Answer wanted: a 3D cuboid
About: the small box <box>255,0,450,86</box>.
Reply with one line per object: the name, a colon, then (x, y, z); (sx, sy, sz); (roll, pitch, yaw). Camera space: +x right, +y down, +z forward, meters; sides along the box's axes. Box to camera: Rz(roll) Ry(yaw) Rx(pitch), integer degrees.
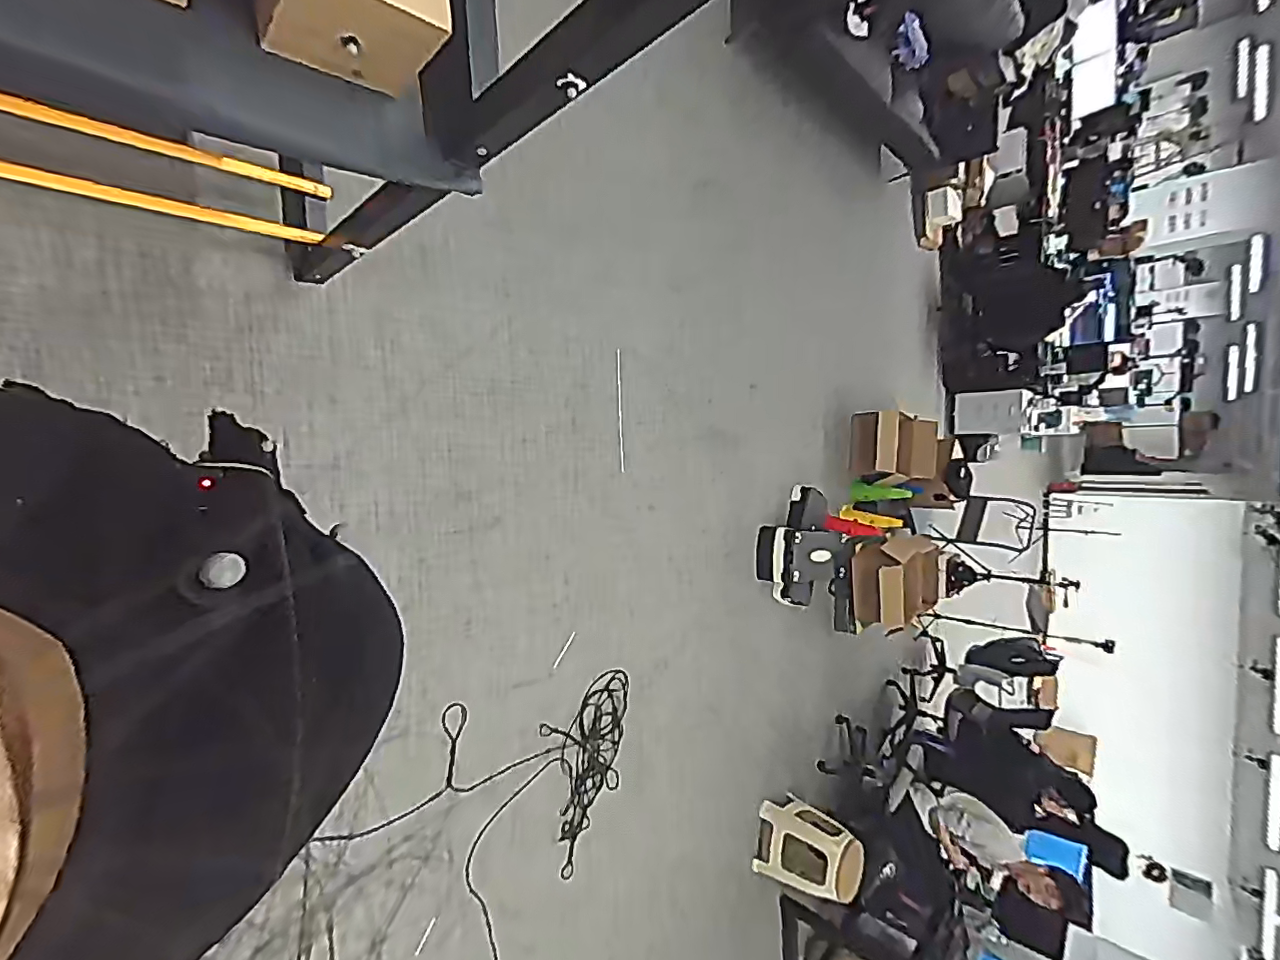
small box: (-0.350, -0.620, 0.643); (0.168, 0.176, 0.179); (-12, 99, -46)
